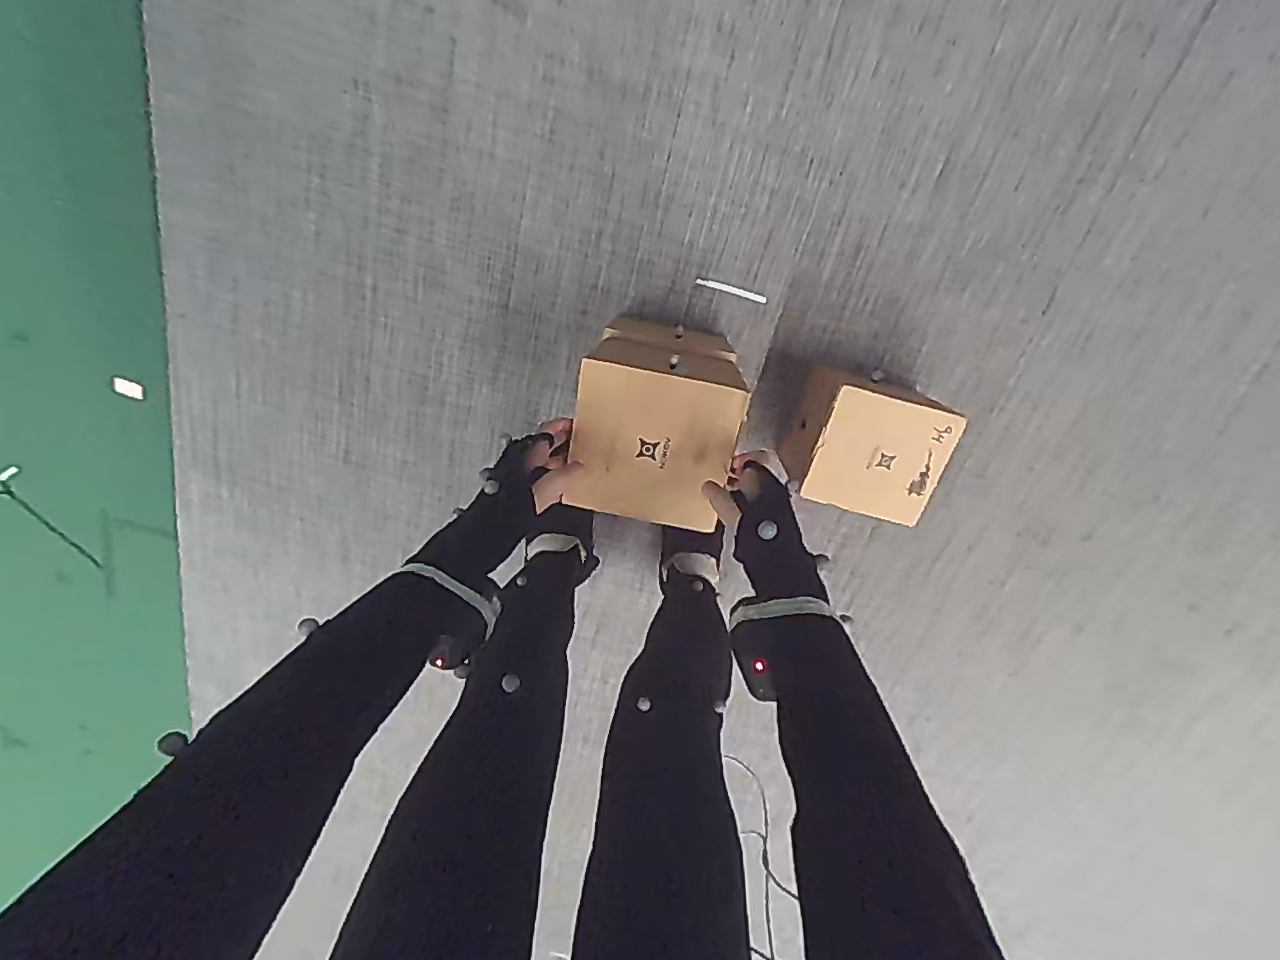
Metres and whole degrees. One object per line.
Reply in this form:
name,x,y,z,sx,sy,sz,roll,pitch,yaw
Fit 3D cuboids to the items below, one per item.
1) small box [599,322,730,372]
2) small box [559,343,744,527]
small box,0.024,-0.134,0.810,0.179,0.176,0.168,12,111,0
small box,0.014,-0.065,0.663,0.179,0.176,0.168,12,111,0
